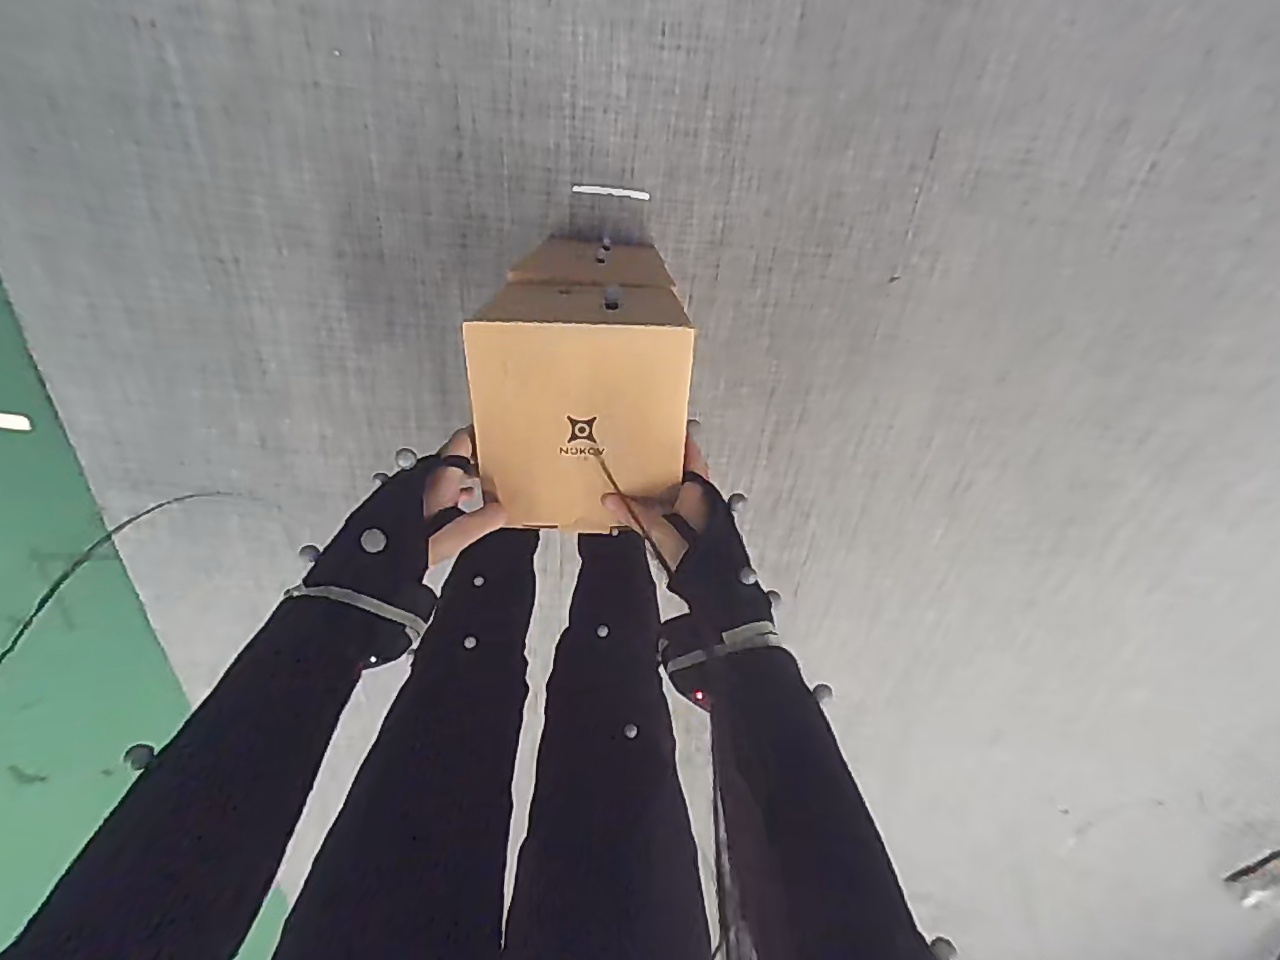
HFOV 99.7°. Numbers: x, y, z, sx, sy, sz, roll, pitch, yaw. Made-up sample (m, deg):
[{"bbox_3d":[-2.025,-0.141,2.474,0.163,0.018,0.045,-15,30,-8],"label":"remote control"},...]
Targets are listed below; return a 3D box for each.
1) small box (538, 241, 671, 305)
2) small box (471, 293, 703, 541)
[{"bbox_3d":[-0.056,-0.231,0.766,0.168,0.176,0.179,5,121,-5],"label":"small box"},{"bbox_3d":[-0.044,-0.064,0.486,0.168,0.176,0.179,1,120,-3],"label":"small box"}]
